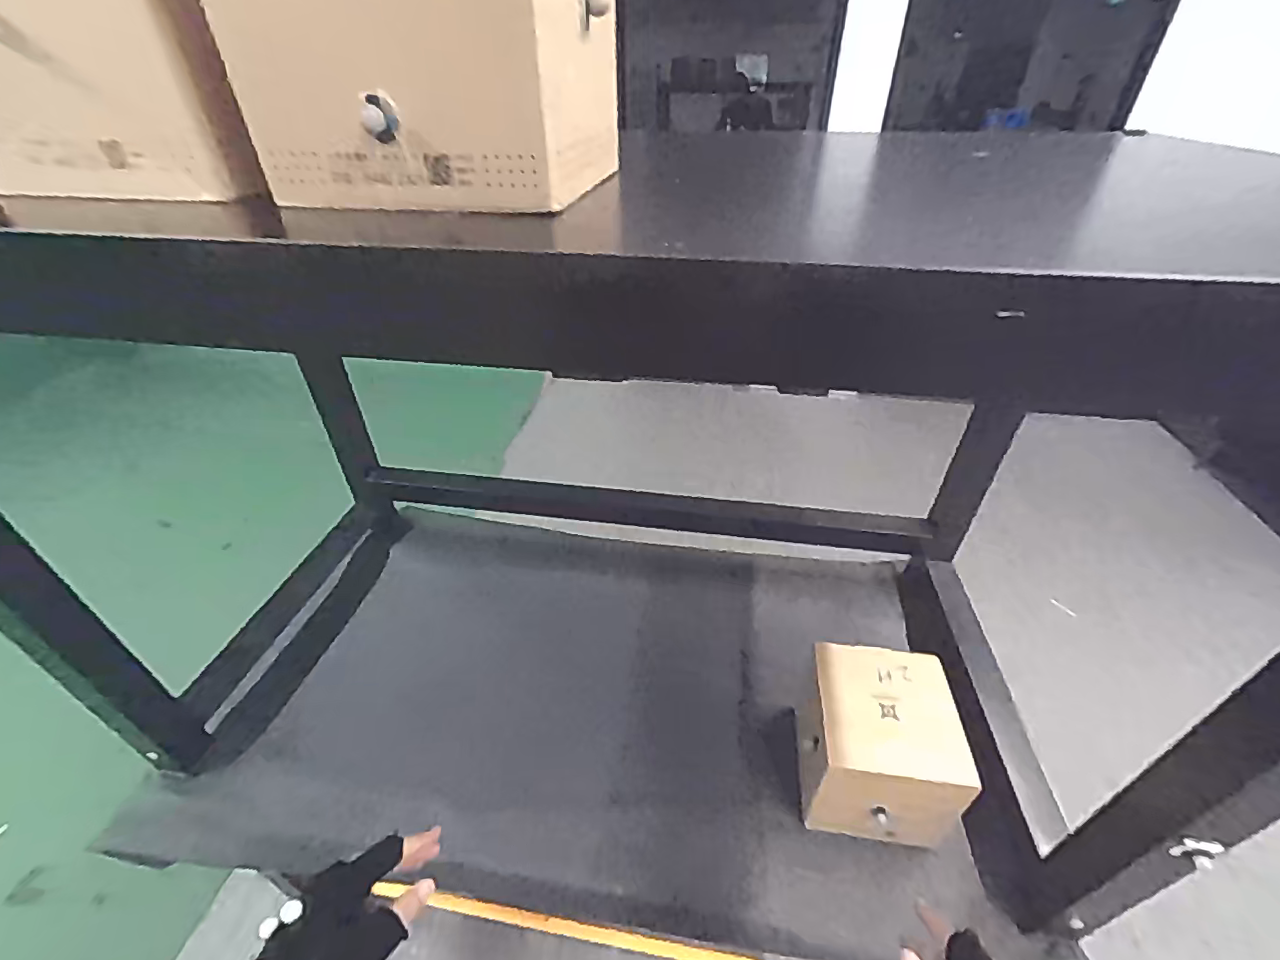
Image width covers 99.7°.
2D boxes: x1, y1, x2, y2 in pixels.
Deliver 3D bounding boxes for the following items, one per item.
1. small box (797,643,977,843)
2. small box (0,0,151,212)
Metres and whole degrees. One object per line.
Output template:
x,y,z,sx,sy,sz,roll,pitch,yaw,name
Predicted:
0.309,0.349,0.721,0.168,0.176,0.179,5,36,7,small box
-0.504,-0.293,0.377,0.168,0.176,0.179,4,38,7,small box
